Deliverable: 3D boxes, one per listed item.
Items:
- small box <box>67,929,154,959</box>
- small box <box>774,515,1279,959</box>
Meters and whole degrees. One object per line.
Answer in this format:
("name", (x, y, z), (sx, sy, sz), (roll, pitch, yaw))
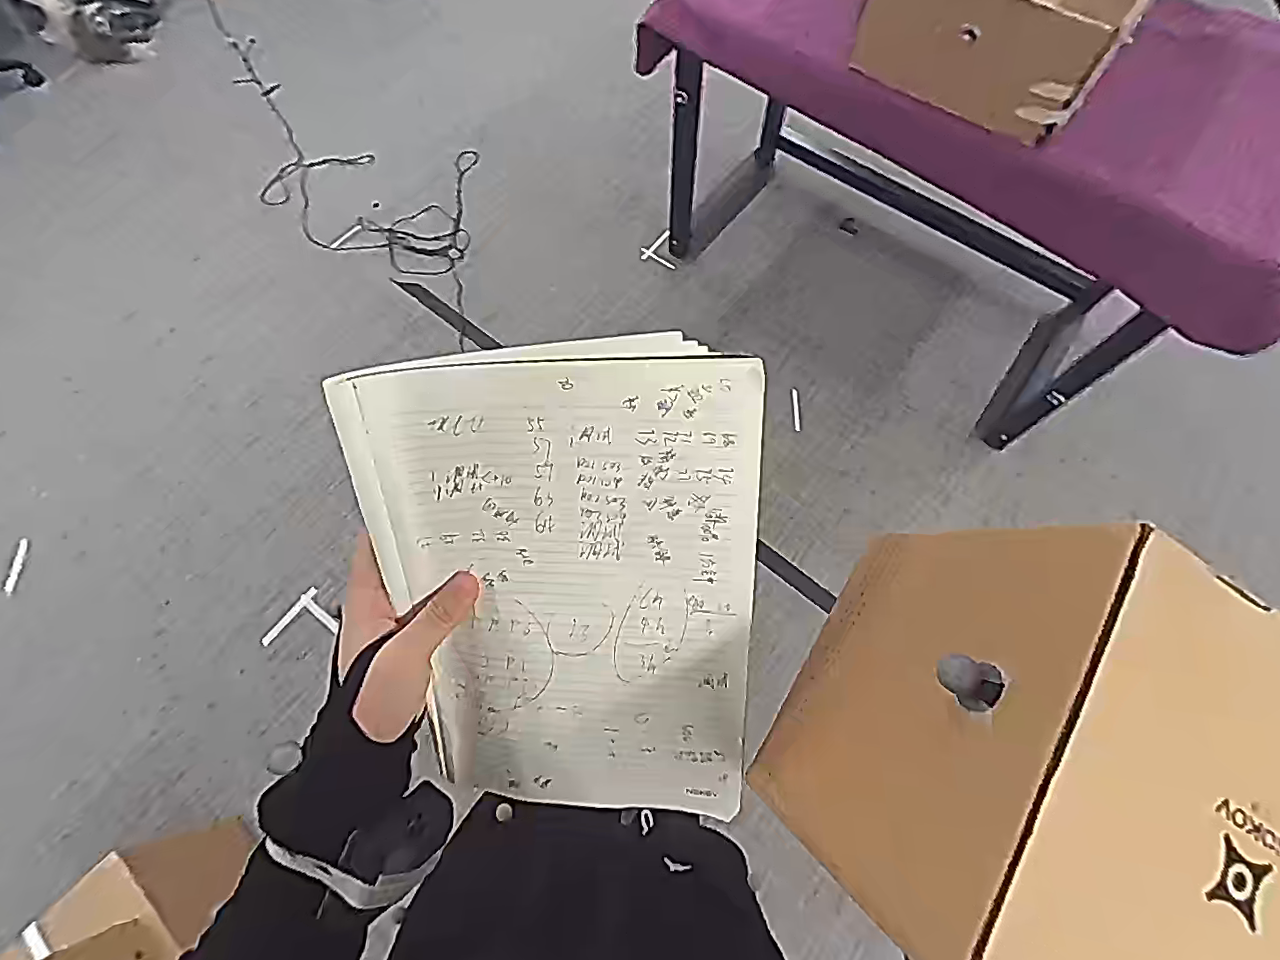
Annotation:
("small box", (-0.853, 0.829, 0.799), (0.168, 0.176, 0.179), (42, 75, 16))
("small box", (0.190, 0.139, 0.262), (0.168, 0.176, 0.179), (34, 76, -5))
